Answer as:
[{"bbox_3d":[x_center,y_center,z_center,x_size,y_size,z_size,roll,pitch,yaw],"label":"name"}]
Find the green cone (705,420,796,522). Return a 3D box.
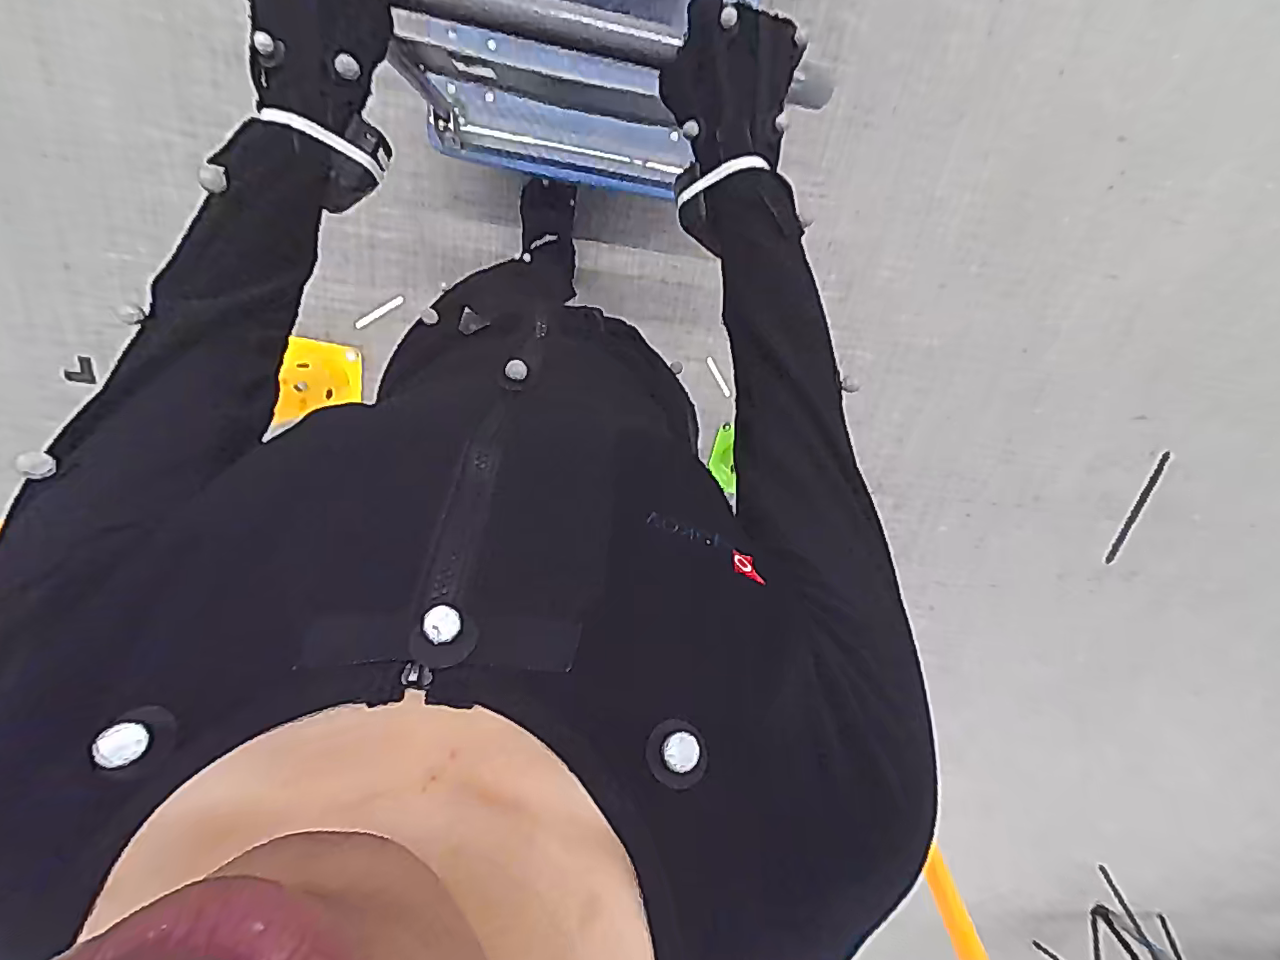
[{"bbox_3d":[0.311,0.007,1.375,0.202,0.368,0.200,10,113,-9],"label":"green cone"}]
